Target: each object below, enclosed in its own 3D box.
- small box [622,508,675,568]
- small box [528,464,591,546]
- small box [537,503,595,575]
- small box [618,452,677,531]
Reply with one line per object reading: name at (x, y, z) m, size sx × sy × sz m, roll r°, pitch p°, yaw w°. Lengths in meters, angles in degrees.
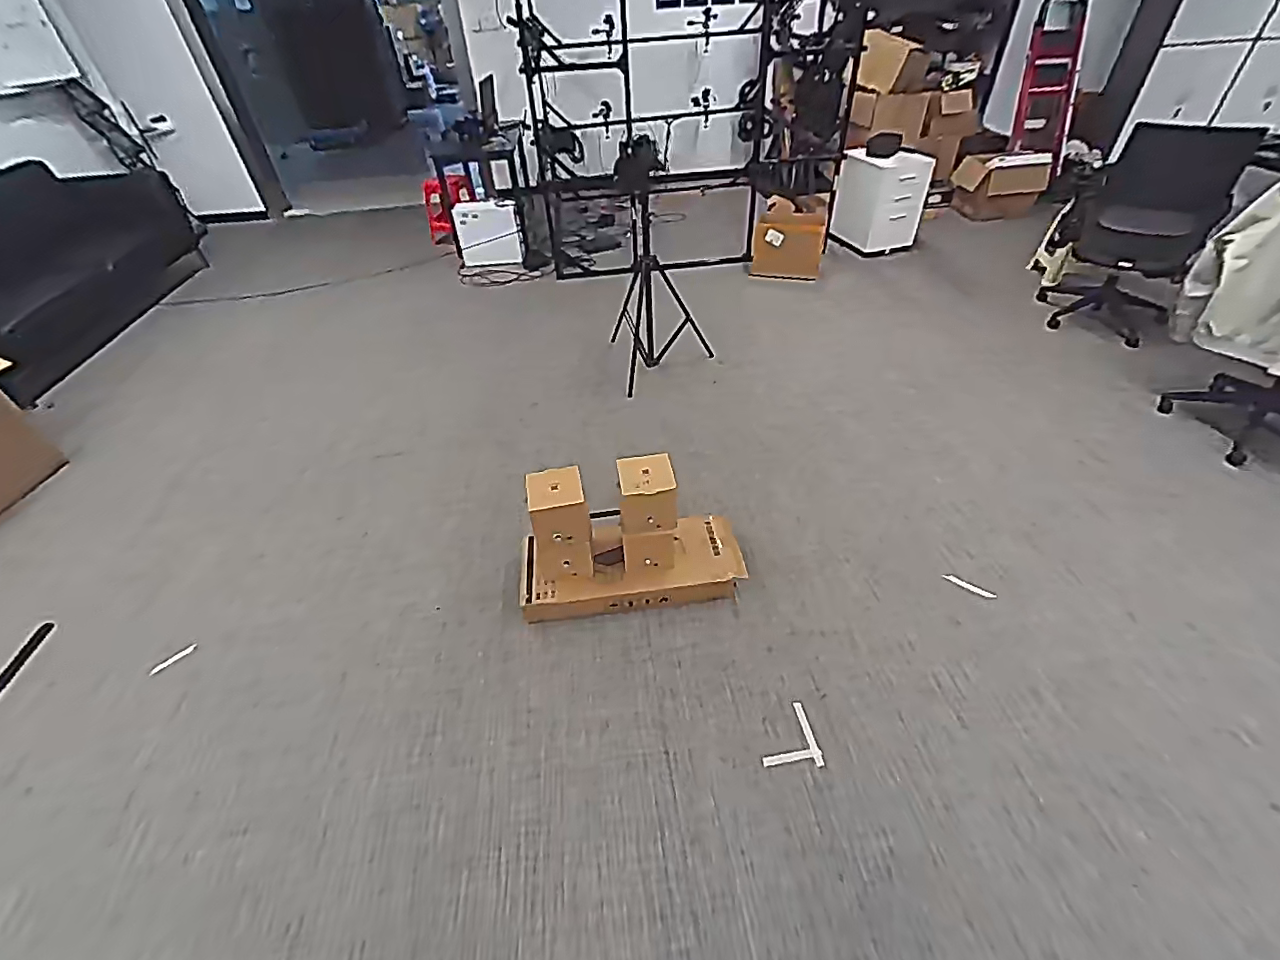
small box at (0.027, 0.172, 1.803) m, size 0.168 × 0.176 × 0.179 m, roll -5°, pitch 42°, yaw 0°
small box at (-0.250, 0.079, 1.679) m, size 0.168 × 0.176 × 0.179 m, roll -11°, pitch 43°, yaw -7°
small box at (-0.239, 0.201, 1.788) m, size 0.168 × 0.176 × 0.179 m, roll -6°, pitch 42°, yaw -2°
small box at (0.023, 0.037, 1.705) m, size 0.168 × 0.176 × 0.179 m, roll -8°, pitch 42°, yaw -4°
